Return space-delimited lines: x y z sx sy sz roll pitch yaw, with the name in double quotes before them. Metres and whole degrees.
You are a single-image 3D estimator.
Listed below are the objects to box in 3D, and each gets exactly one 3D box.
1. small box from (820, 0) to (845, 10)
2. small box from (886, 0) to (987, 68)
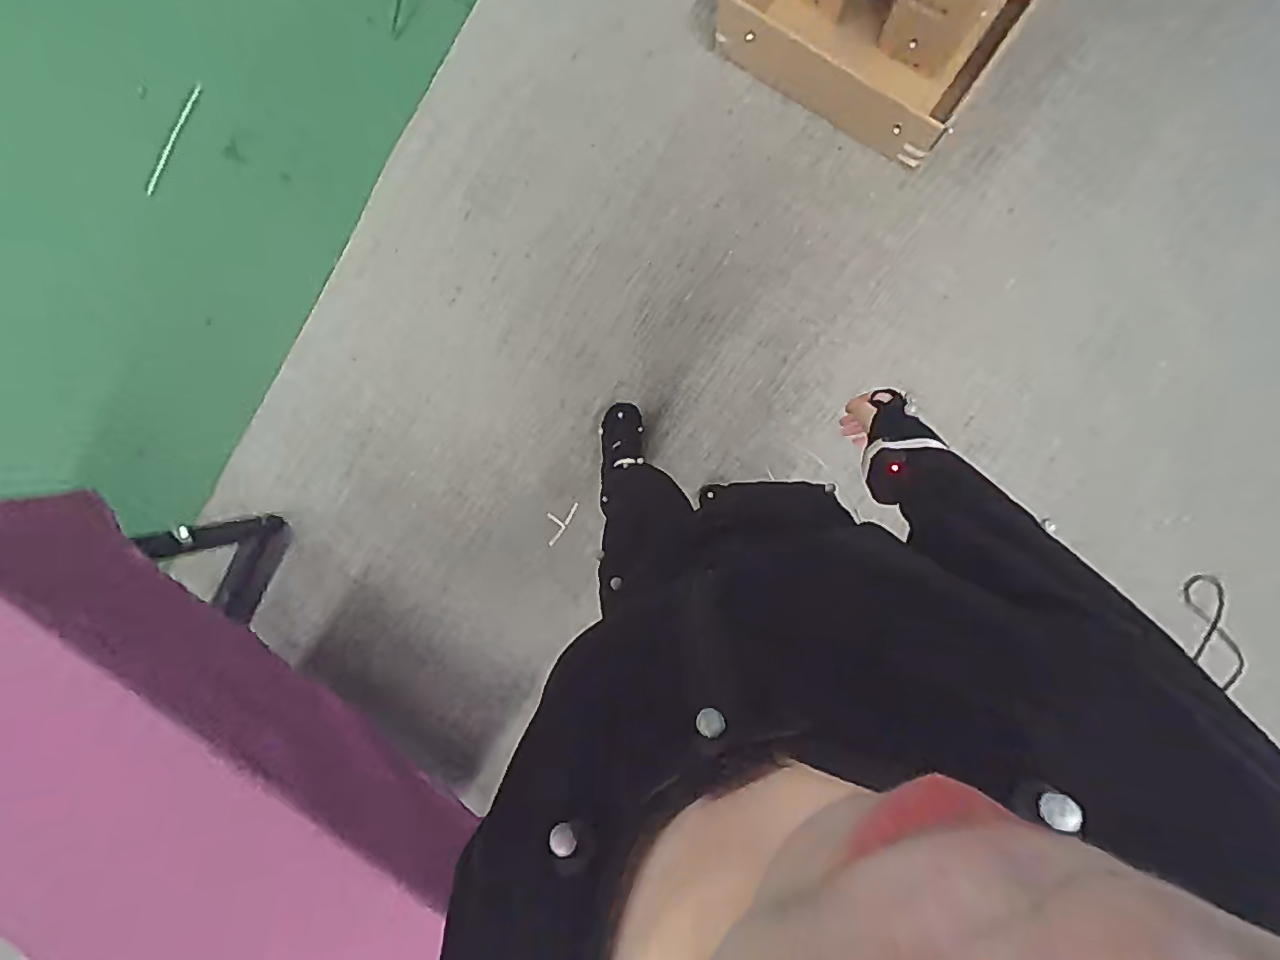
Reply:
"small box" 0.446 -1.224 1.207 0.168 0.176 0.179 38 99 2
"small box" 0.669 -1.068 1.187 0.168 0.176 0.179 35 100 5
